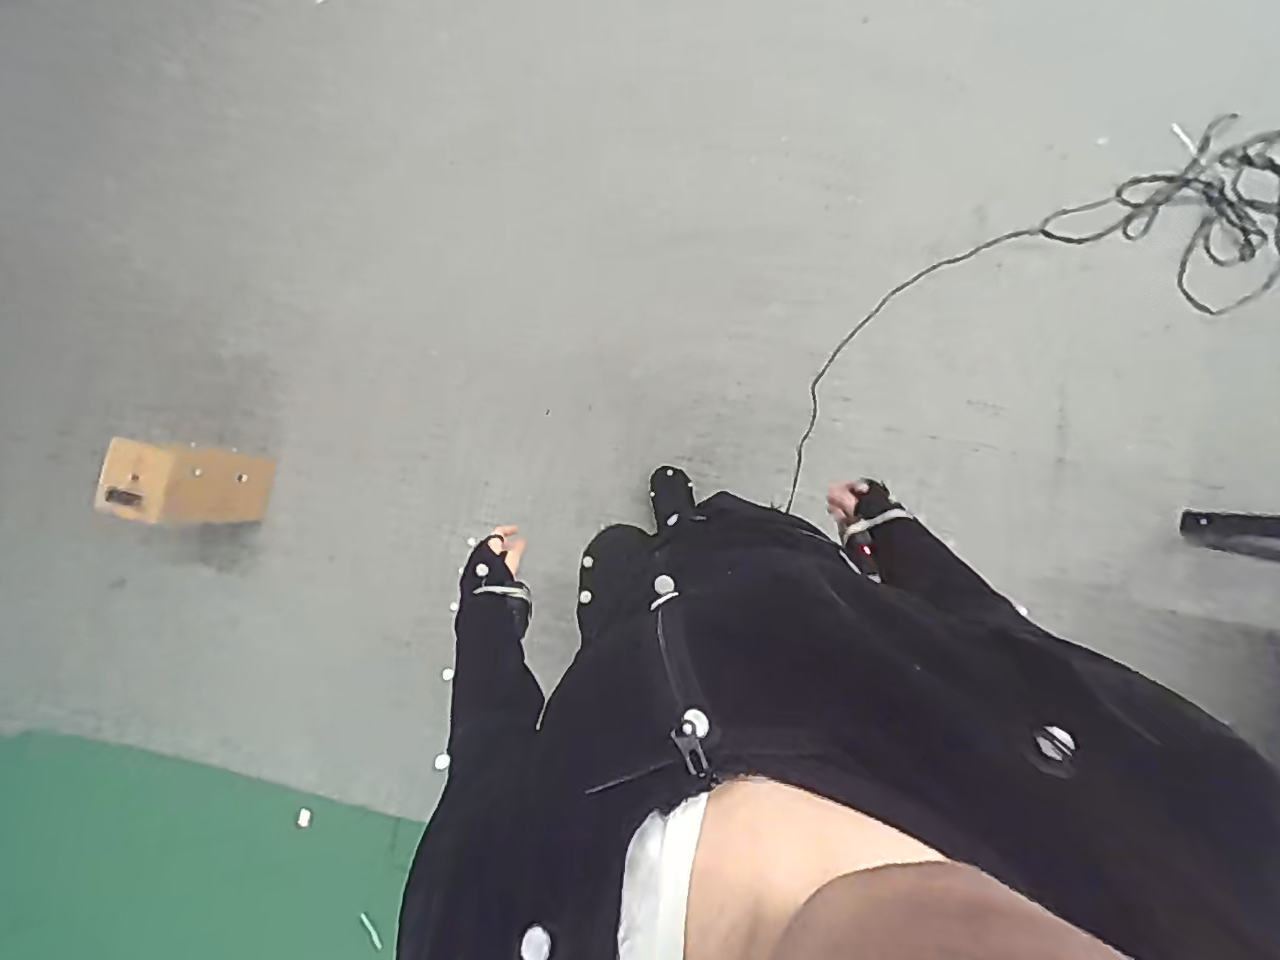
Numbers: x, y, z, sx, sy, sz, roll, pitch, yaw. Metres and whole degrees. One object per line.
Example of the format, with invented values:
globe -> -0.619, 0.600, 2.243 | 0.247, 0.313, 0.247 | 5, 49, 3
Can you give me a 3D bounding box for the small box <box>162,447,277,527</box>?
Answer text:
small box -> -1.152, 0.019, 1.495 | 0.168, 0.176, 0.179 | 16, 91, 3
